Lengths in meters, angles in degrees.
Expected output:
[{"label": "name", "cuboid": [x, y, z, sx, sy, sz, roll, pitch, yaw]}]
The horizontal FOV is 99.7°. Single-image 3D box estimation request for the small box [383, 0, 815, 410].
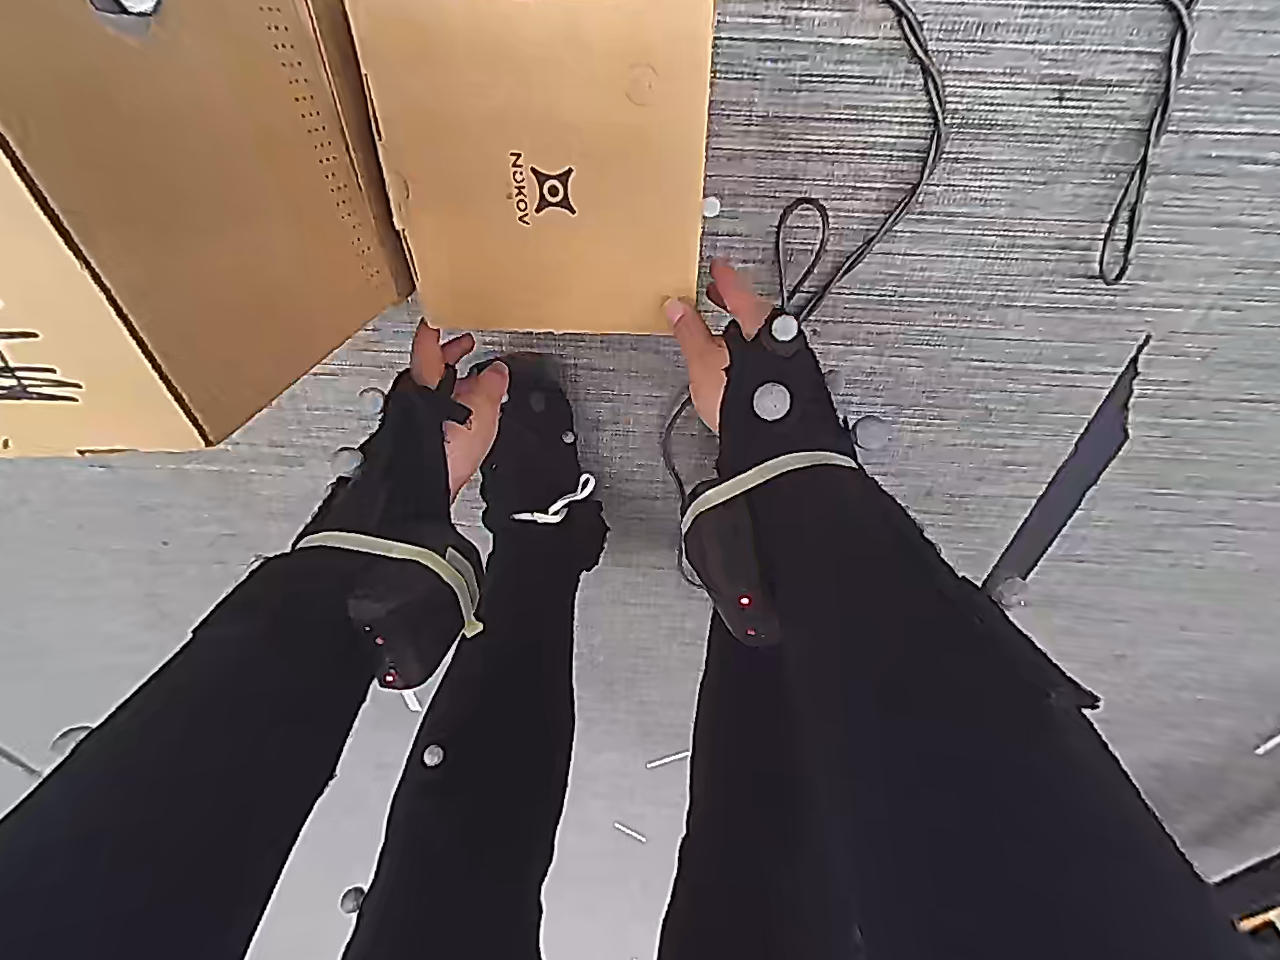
[{"label": "small box", "cuboid": [-0.035, -0.159, 0.305, 0.168, 0.176, 0.179, 13, 140, -24]}]
